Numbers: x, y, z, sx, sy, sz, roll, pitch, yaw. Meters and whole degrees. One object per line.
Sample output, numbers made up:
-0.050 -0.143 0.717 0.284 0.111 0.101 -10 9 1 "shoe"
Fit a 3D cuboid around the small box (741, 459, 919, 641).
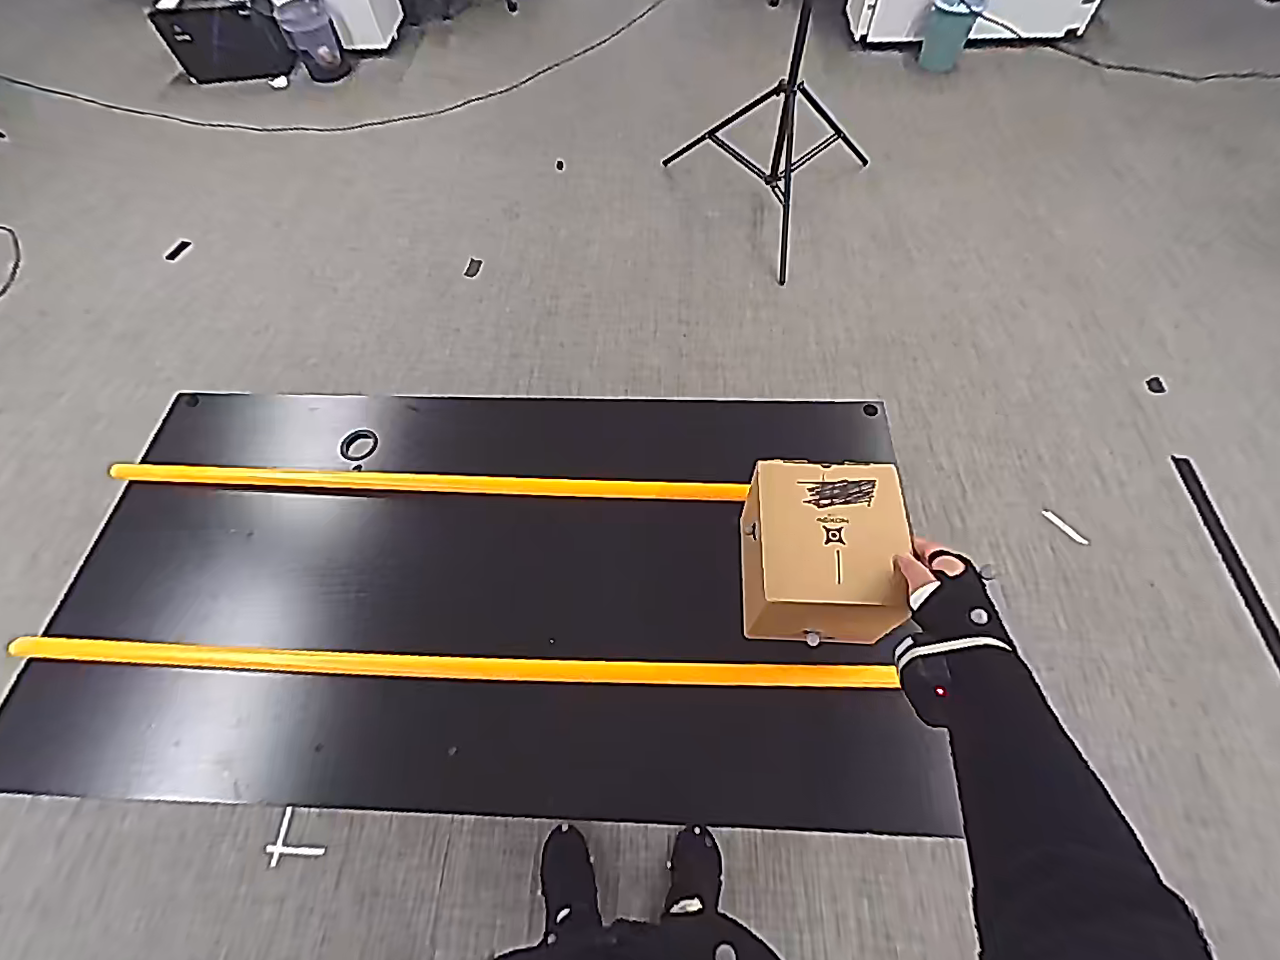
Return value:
0.222 0.092 0.685 0.168 0.176 0.179 2 61 4 "small box"
